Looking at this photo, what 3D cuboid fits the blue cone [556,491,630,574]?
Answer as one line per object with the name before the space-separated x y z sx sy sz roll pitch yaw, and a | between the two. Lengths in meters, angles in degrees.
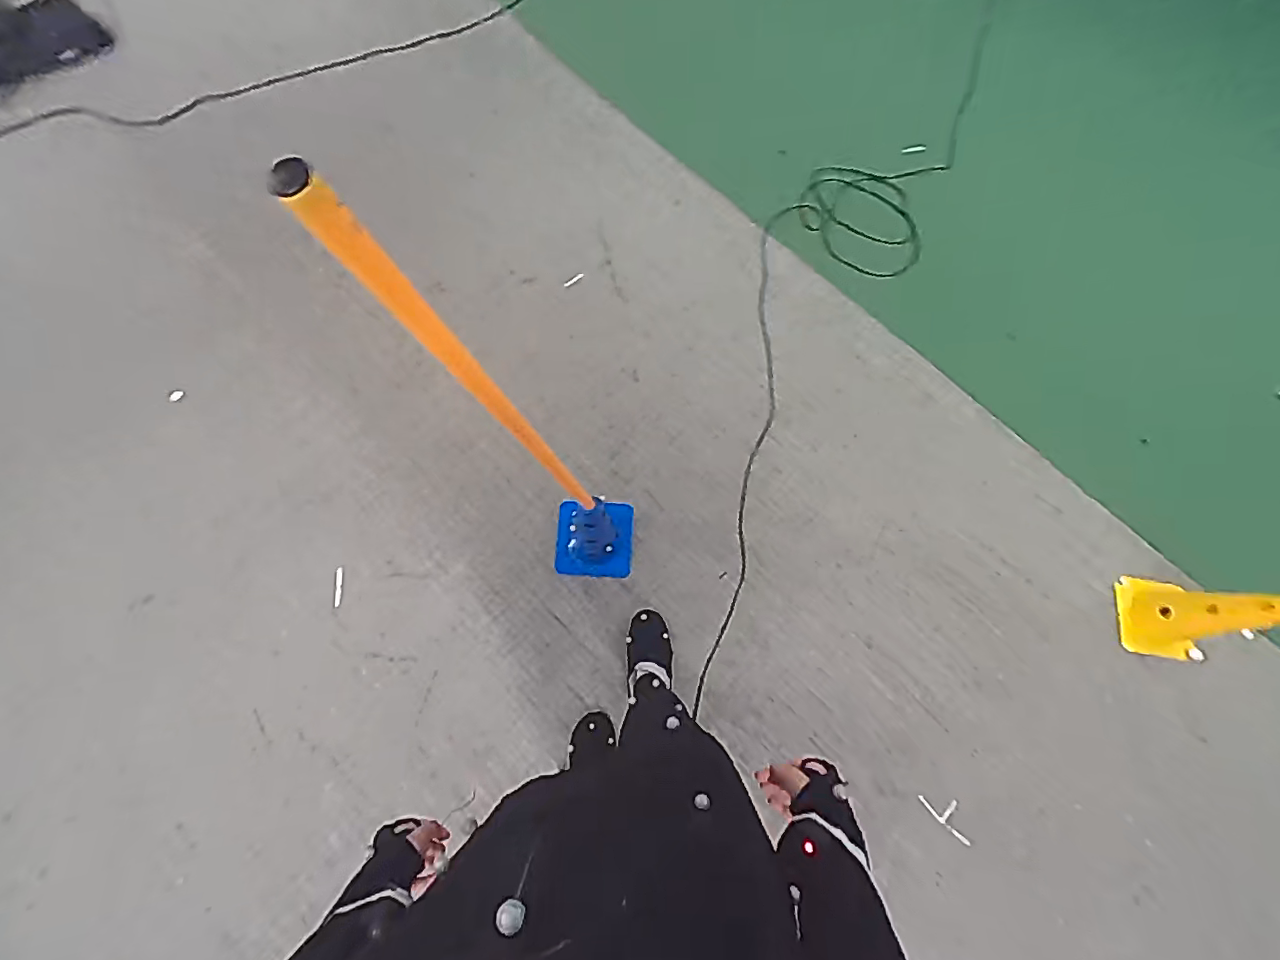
blue cone | -0.117 0.101 1.238 0.193 0.380 0.192 1 73 -1
